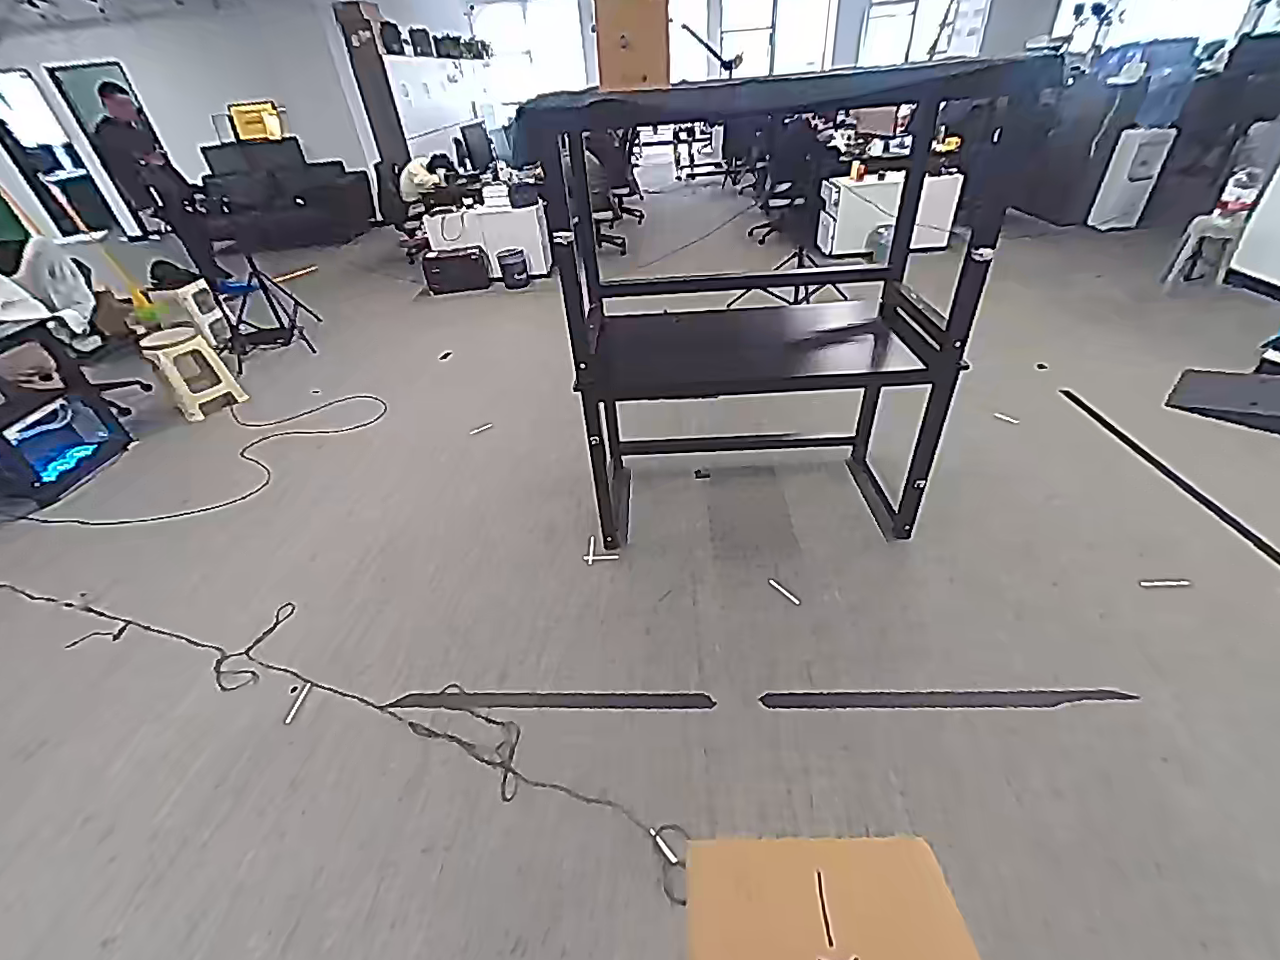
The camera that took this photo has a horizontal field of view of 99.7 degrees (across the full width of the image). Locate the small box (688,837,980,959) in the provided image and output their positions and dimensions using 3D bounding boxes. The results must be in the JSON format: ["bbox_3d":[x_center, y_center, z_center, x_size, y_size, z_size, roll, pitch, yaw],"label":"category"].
[{"bbox_3d":[0.117,0.359,0.334,0.168,0.176,0.179,-1,27,2],"label":"small box"}]

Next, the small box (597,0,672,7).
[{"bbox_3d":[-0.016,-1.148,1.190,0.168,0.176,0.179,-2,36,5],"label":"small box"}]

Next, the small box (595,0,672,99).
[{"bbox_3d":[-0.010,-1.016,1.283,0.168,0.176,0.179,-2,35,2],"label":"small box"}]
